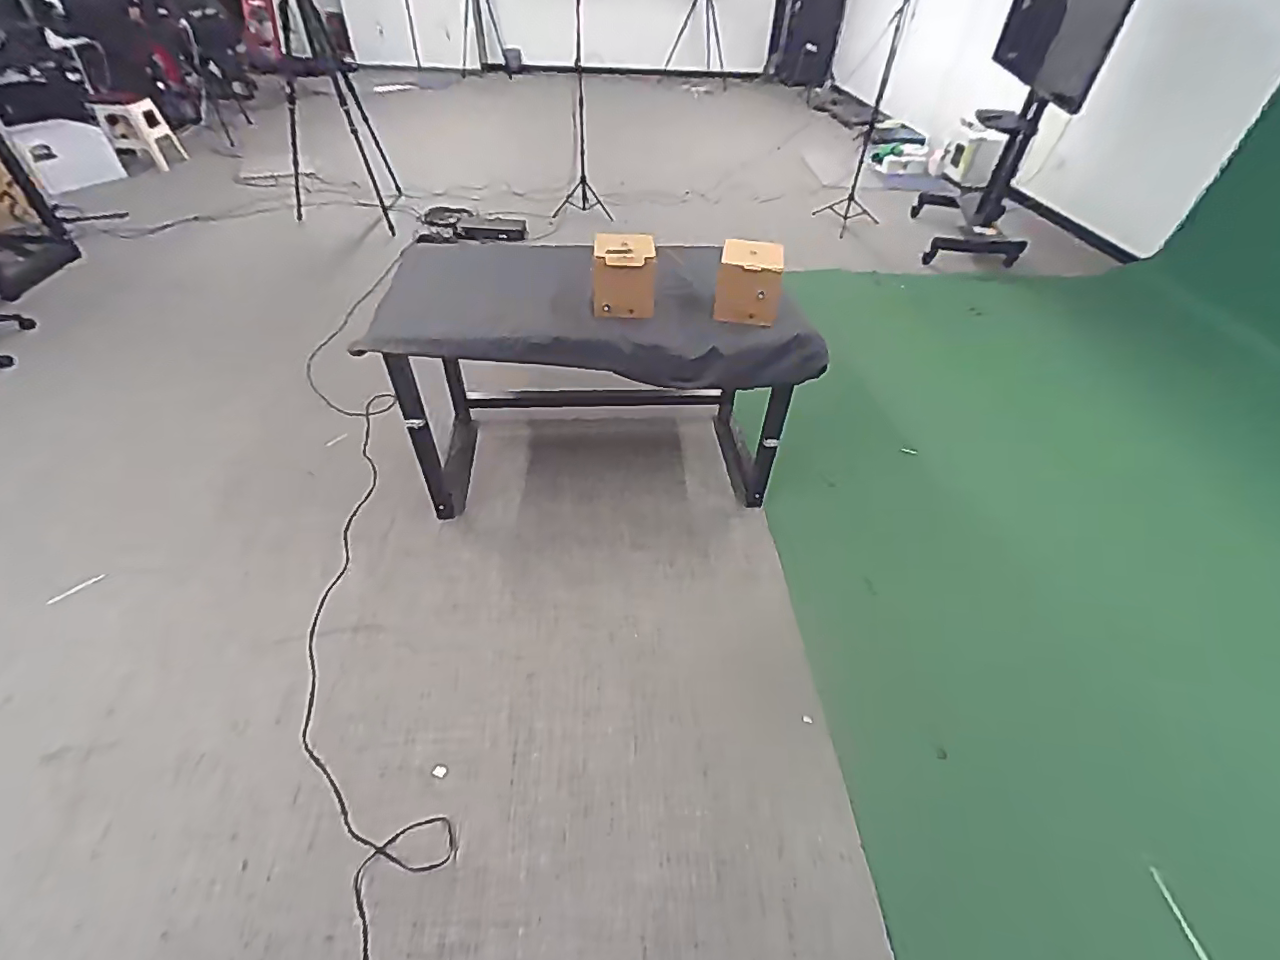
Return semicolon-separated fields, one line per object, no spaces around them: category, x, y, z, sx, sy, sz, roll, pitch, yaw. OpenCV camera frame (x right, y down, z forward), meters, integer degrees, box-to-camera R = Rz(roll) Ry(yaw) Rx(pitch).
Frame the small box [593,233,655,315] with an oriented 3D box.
small box;-0.045;-0.578;1.523;0.168;0.176;0.179;0;44;-3

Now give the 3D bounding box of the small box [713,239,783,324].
small box;0.302;-0.559;1.523;0.168;0.176;0.179;9;43;5
